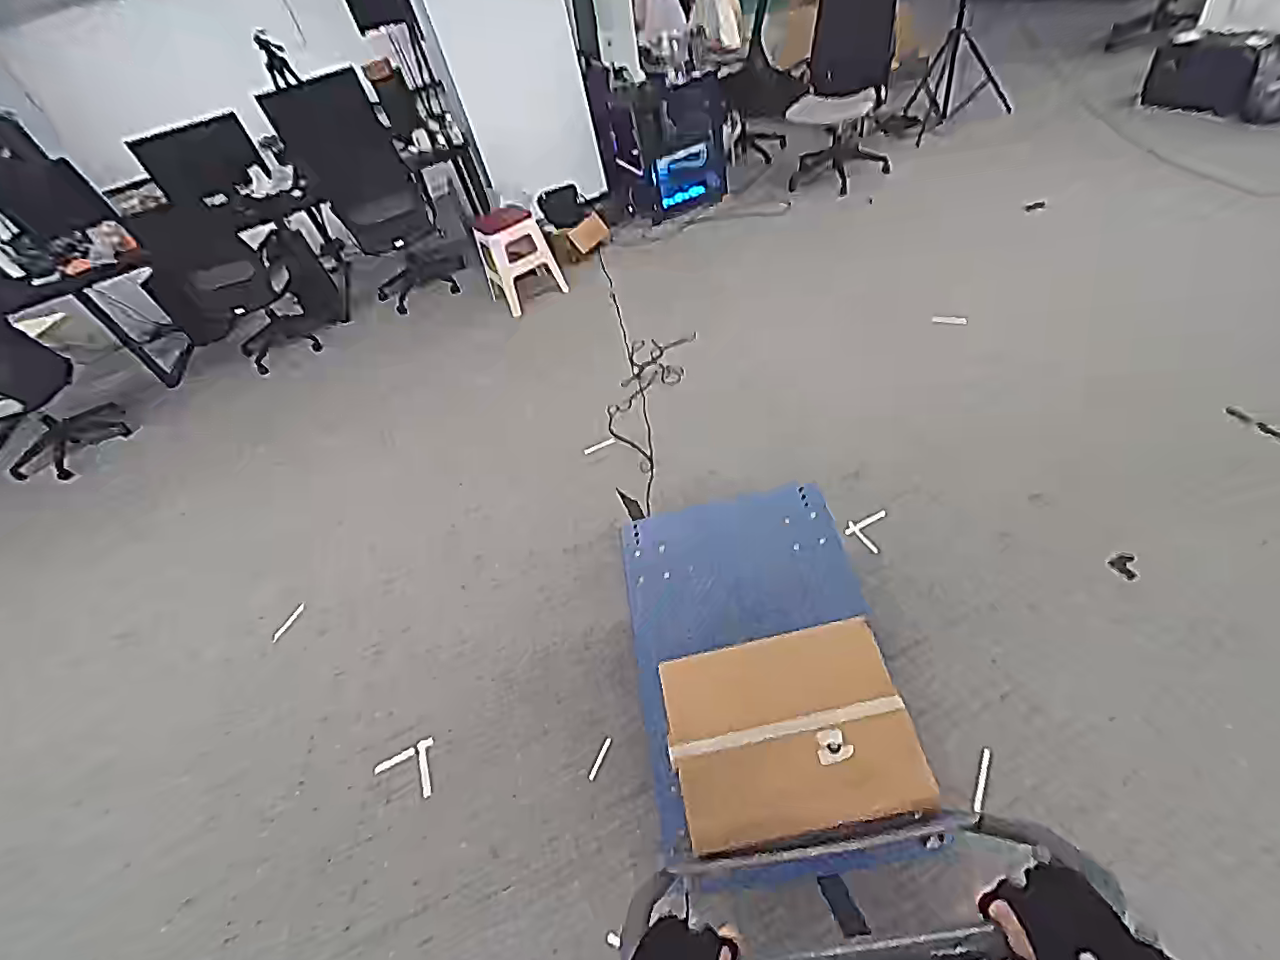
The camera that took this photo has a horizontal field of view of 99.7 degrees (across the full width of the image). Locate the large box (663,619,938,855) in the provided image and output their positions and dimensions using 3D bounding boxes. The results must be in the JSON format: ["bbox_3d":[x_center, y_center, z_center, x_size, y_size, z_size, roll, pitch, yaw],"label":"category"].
[{"bbox_3d":[0.288,0.518,1.079,0.408,0.320,0.320,-14,57,3],"label":"large box"}]
